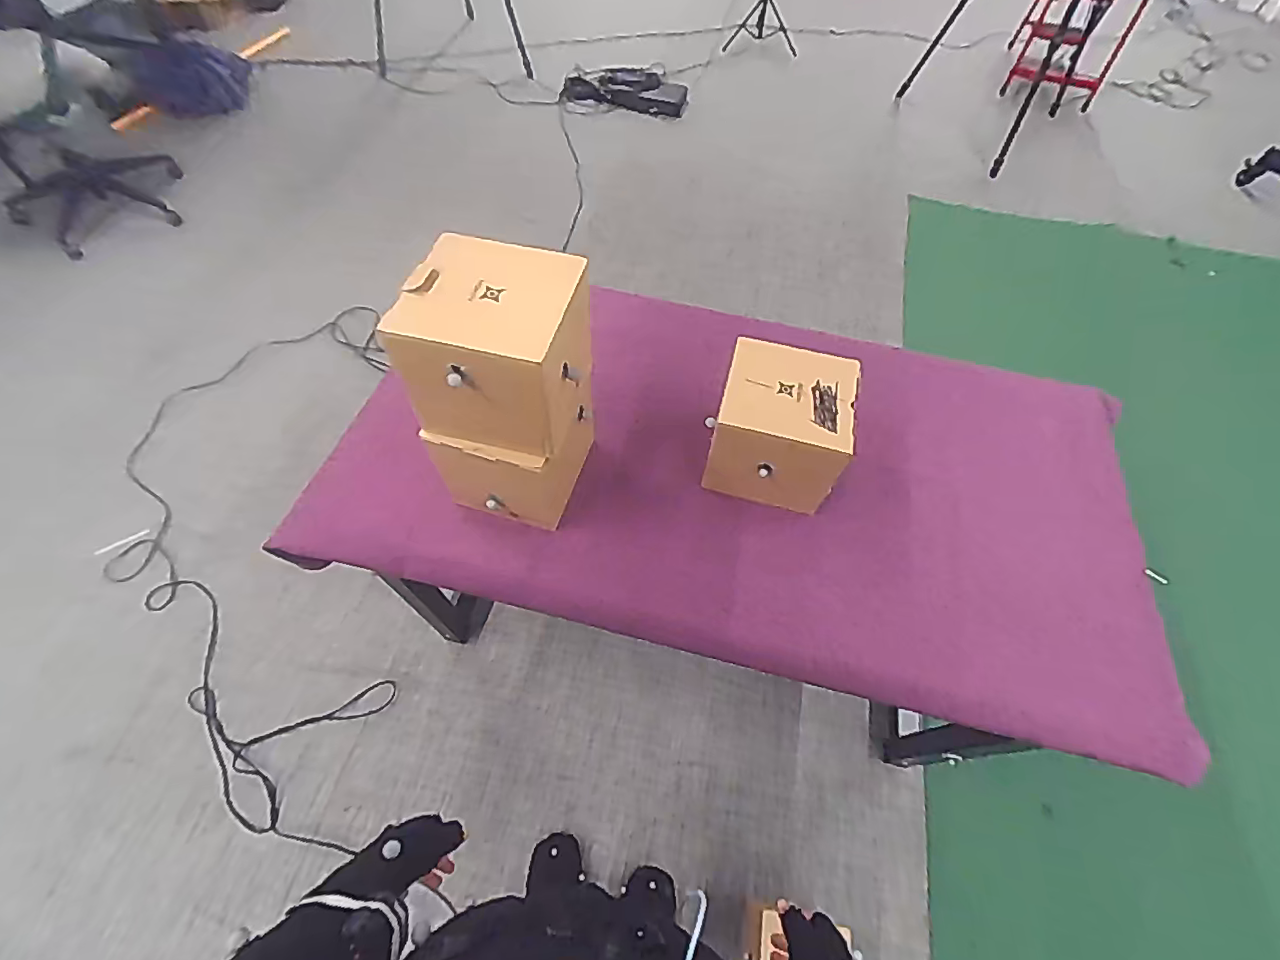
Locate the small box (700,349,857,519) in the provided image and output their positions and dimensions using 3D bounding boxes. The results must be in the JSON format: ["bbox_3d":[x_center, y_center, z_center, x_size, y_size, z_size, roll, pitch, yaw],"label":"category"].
[{"bbox_3d":[0.199,-0.061,0.803,0.179,0.176,0.168,15,59,7],"label":"small box"}]

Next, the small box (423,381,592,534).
[{"bbox_3d":[-0.175,-0.051,0.774,0.168,0.176,0.179,16,59,7],"label":"small box"}]

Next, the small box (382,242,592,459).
[{"bbox_3d":[-0.160,-0.144,0.641,0.179,0.176,0.168,13,59,5],"label":"small box"}]
